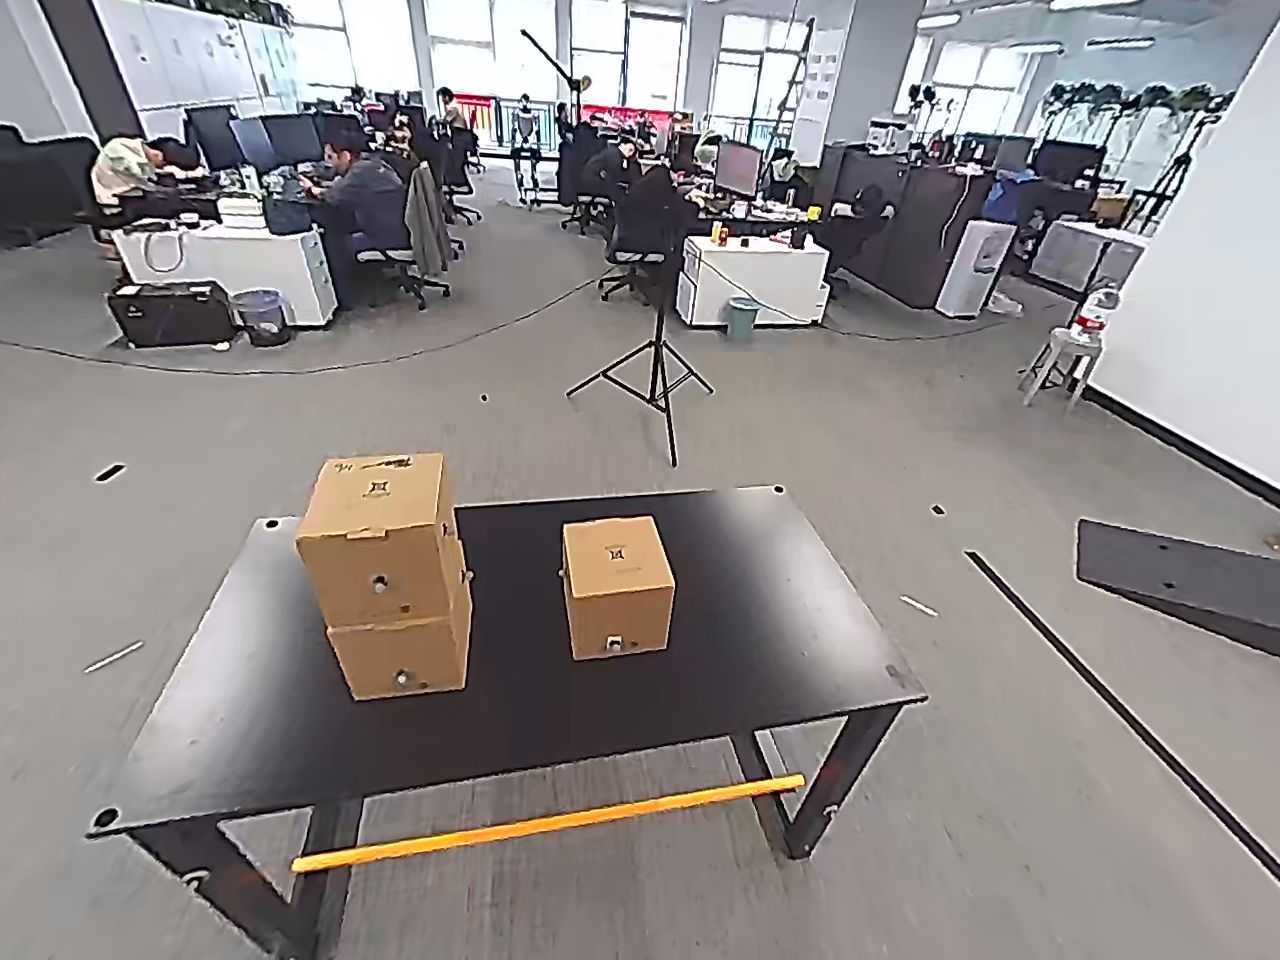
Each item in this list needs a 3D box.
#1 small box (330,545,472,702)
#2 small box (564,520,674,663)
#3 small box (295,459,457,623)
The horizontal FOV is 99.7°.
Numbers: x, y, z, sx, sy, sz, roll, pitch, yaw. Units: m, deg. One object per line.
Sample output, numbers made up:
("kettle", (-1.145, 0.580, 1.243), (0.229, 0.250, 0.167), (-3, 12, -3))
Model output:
("small box", (-0.371, 0.229, 0.875), (0.168, 0.176, 0.179), (-3, 36, -10))
("small box", (-0.045, 0.195, 0.961), (0.168, 0.176, 0.179), (-6, 37, -11))
("small box", (-0.365, 0.091, 0.787), (0.168, 0.176, 0.179), (-5, 37, -12))
